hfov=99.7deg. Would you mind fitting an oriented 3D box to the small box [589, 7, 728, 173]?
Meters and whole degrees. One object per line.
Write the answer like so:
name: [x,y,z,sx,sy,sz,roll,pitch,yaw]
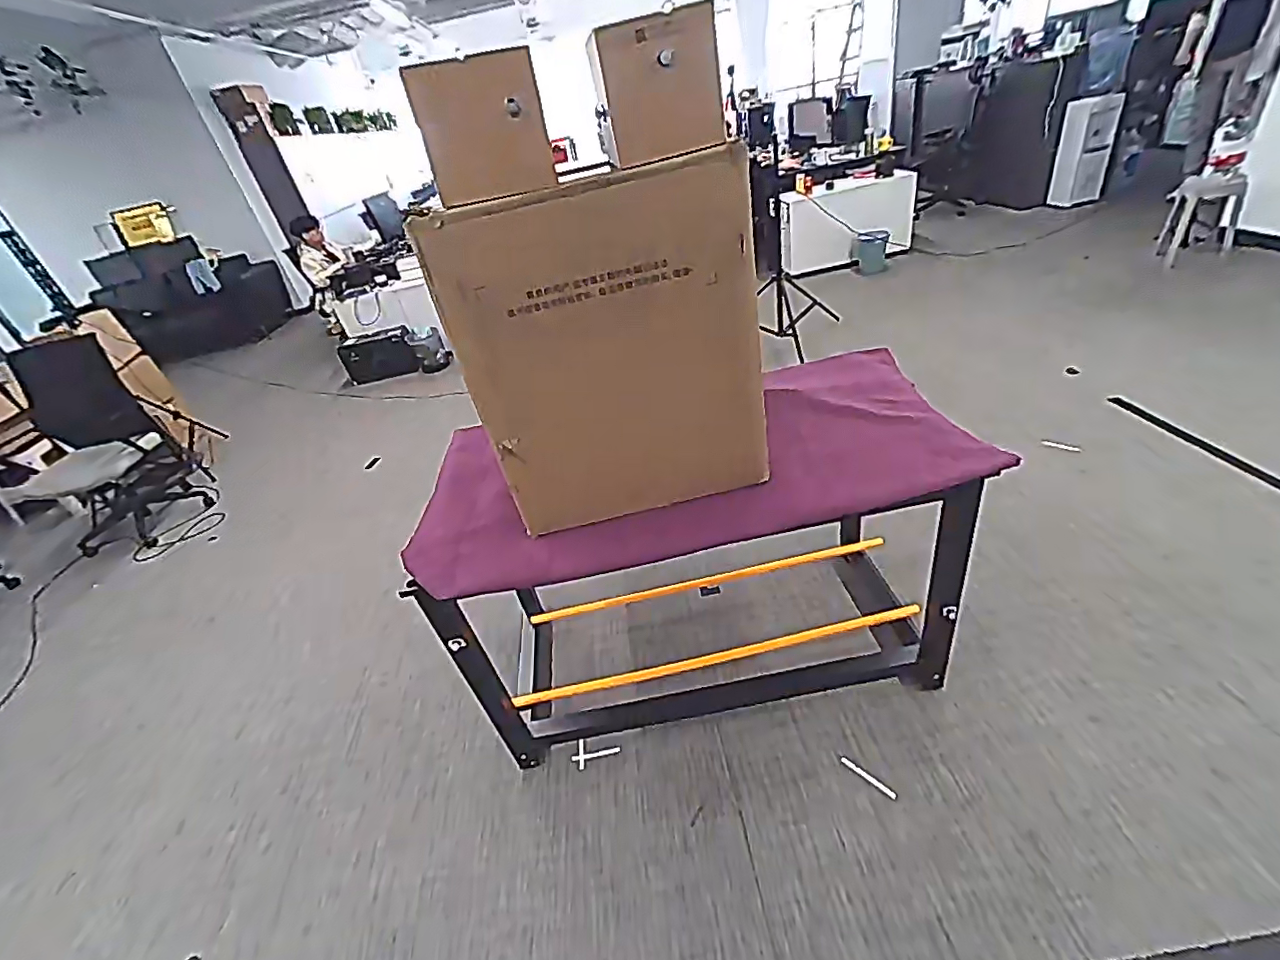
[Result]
small box: [0.024,-0.585,0.820,0.168,0.176,0.179,-15,34,-1]
